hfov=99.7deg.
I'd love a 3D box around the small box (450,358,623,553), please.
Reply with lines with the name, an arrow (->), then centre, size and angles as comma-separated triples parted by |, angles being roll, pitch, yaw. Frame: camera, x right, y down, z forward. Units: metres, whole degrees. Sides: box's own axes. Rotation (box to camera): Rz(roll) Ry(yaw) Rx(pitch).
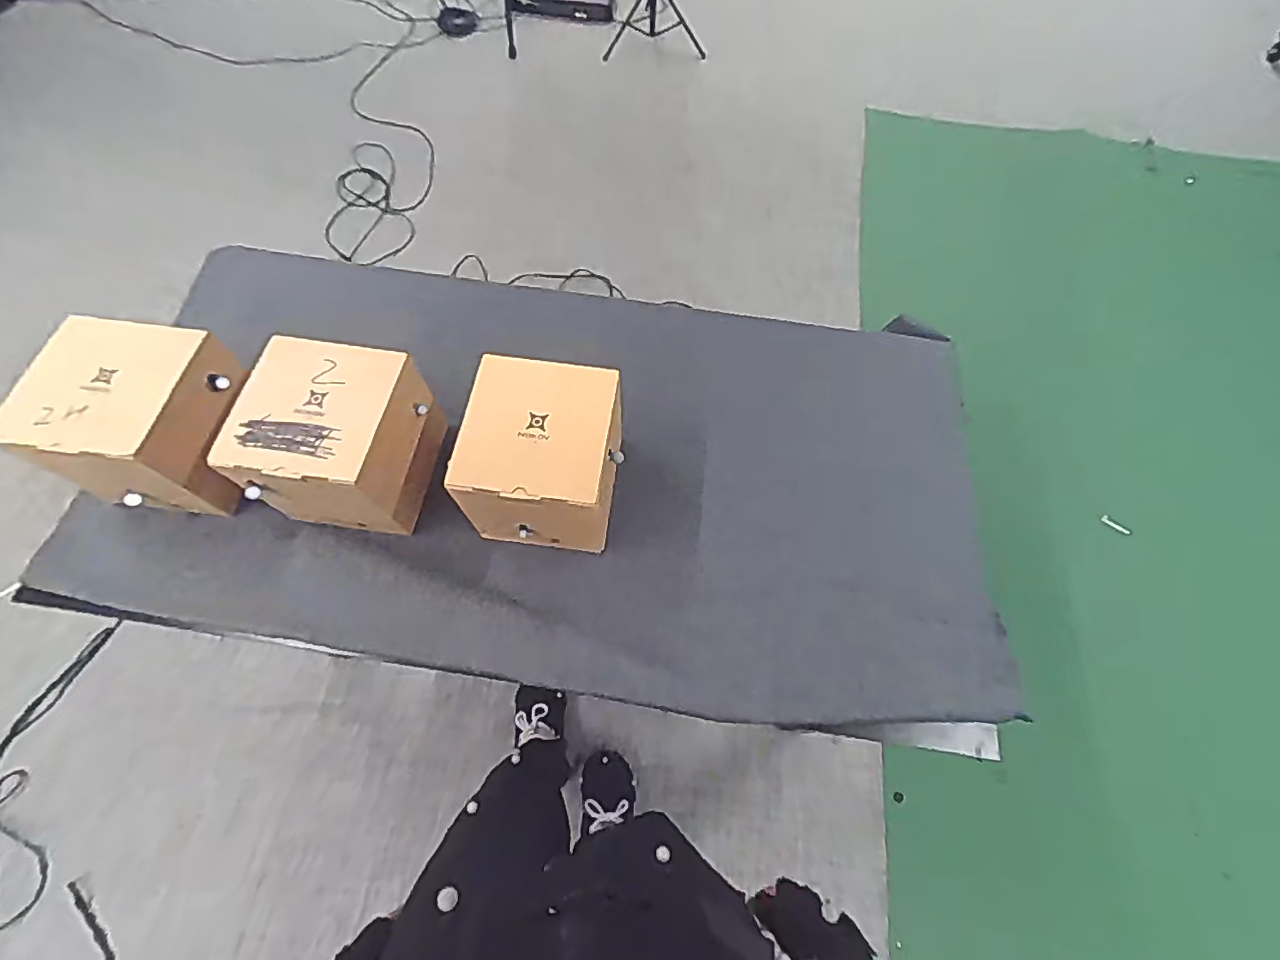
small box -> -0.116, -0.023, 0.678 | 0.168, 0.176, 0.179 | 7, 66, 1

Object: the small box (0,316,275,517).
small box -> -0.601, -0.072, 0.675 | 0.168, 0.176, 0.179 | 7, 64, 0
